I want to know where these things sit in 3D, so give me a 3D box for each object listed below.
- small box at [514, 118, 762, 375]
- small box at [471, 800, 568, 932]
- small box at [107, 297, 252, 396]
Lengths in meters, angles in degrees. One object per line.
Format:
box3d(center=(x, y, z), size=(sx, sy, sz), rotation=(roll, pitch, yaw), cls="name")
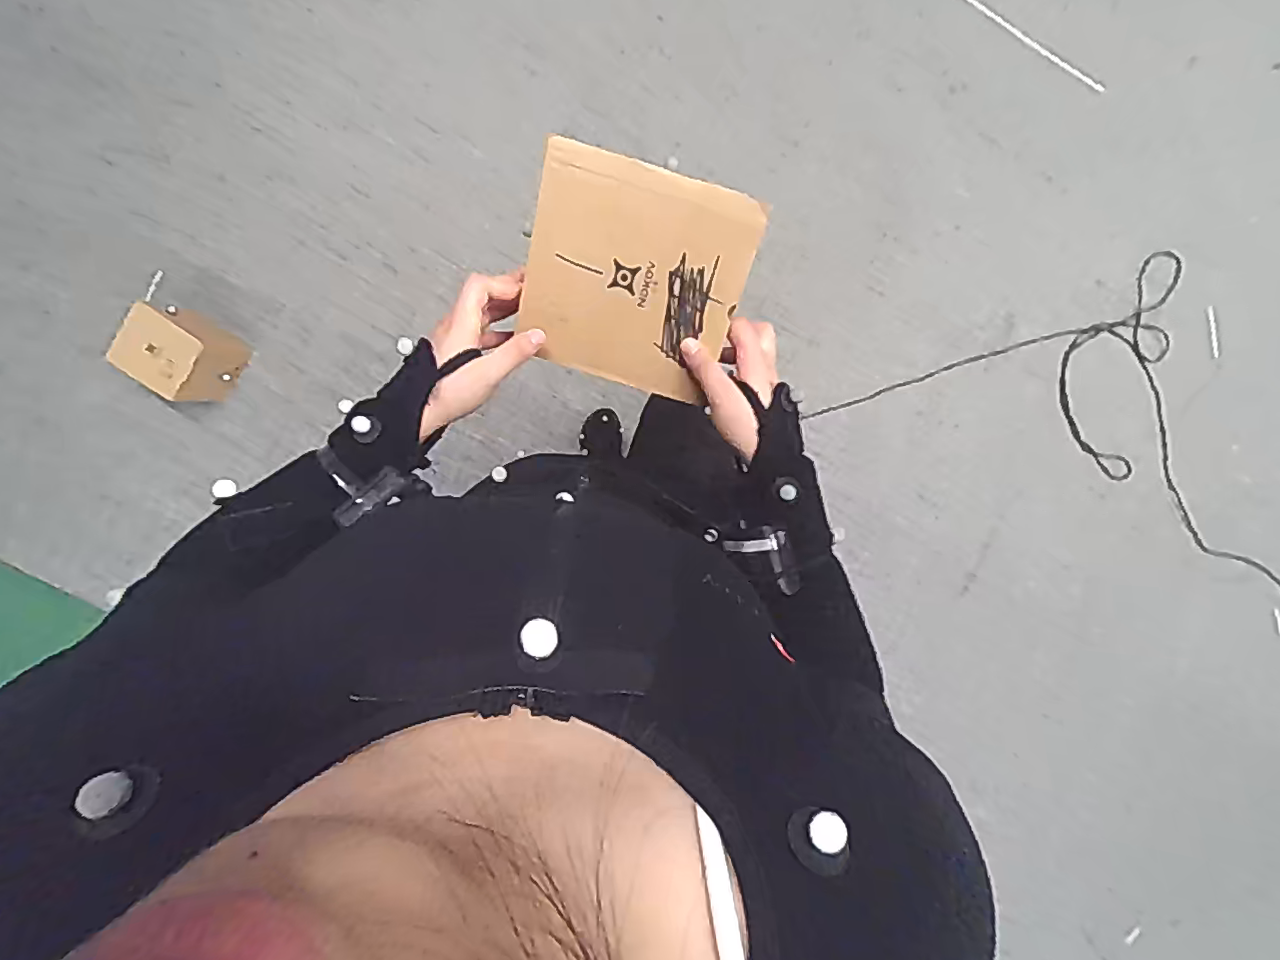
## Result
box3d(center=(-0.013, -0.219, 0.516), size=(0.179, 0.176, 0.168), rotation=(10, 116, -12), cls="small box")
box3d(center=(-0.286, 0.935, 1.327), size=(0.168, 0.176, 0.179), rotation=(27, 96, -5), cls="small box")
box3d(center=(-1.122, -0.319, 1.332), size=(0.179, 0.176, 0.168), rotation=(35, 97, -6), cls="small box")
